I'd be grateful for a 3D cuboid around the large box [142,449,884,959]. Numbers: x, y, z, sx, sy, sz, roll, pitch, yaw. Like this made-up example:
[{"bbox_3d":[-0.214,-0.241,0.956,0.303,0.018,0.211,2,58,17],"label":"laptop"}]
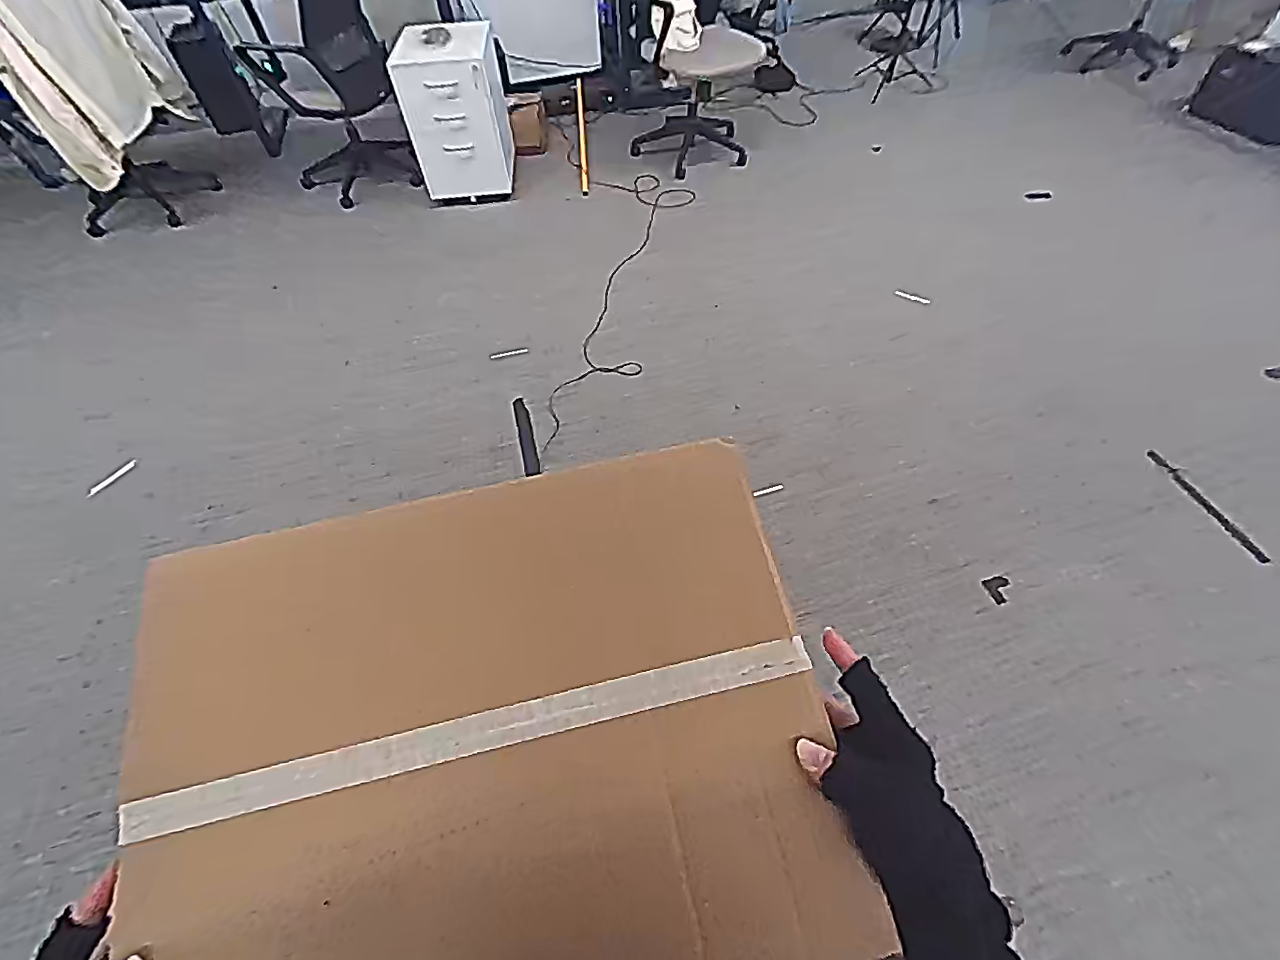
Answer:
[{"bbox_3d":[-0.090,0.213,0.471,0.408,0.320,0.320,-12,69,-4],"label":"large box"}]
